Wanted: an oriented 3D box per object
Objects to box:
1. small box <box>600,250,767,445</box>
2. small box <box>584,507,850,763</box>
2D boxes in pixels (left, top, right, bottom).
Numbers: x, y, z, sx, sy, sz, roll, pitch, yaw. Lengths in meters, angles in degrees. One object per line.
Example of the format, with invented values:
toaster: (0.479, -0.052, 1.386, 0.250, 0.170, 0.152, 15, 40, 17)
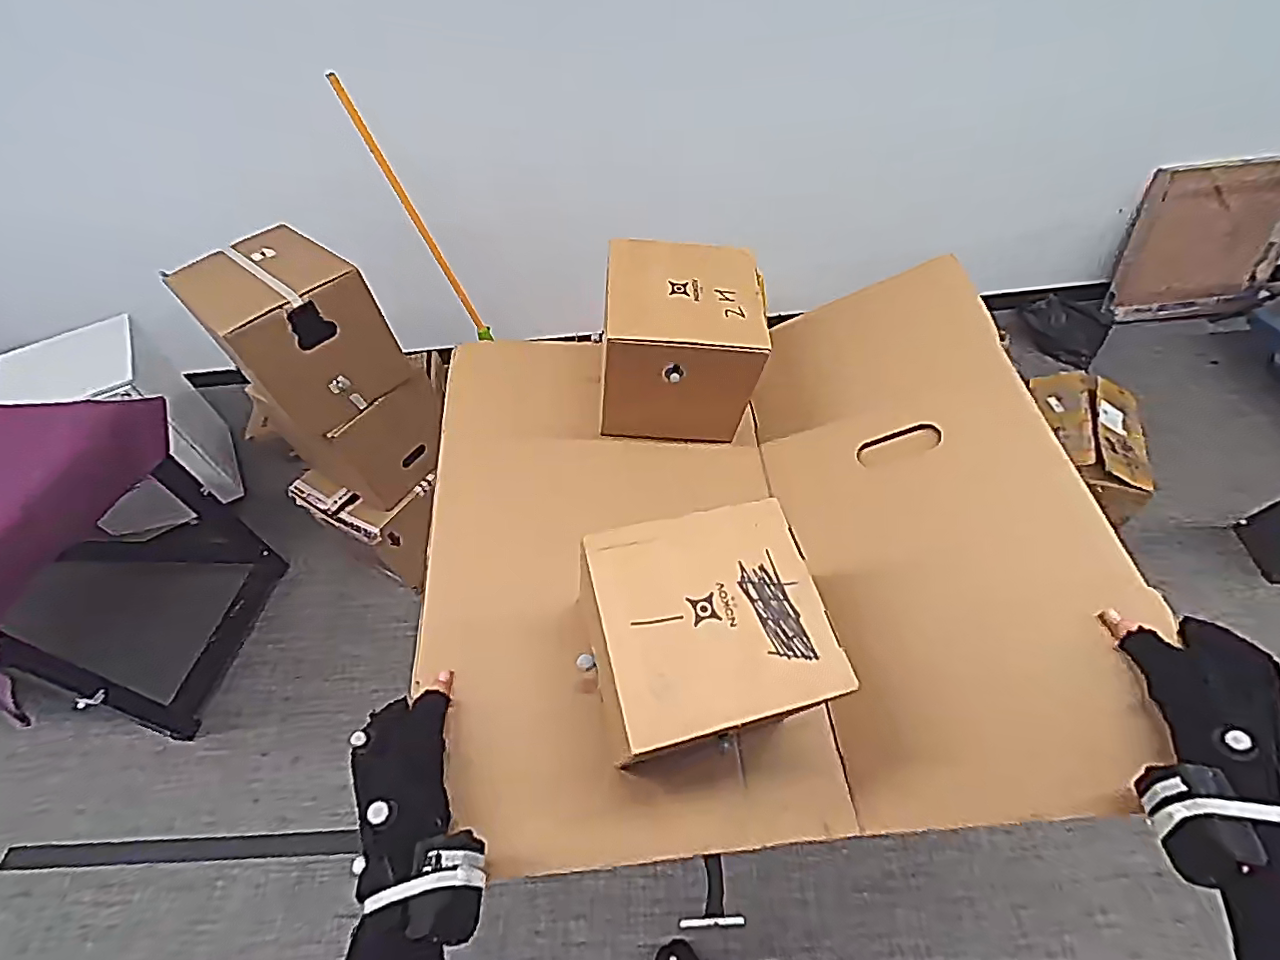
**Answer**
small box: (0.042, -0.157, 0.673, 0.179, 0.176, 0.168, 4, 59, -5)
small box: (0.049, 0.145, 0.492, 0.179, 0.176, 0.168, -10, 61, -12)
